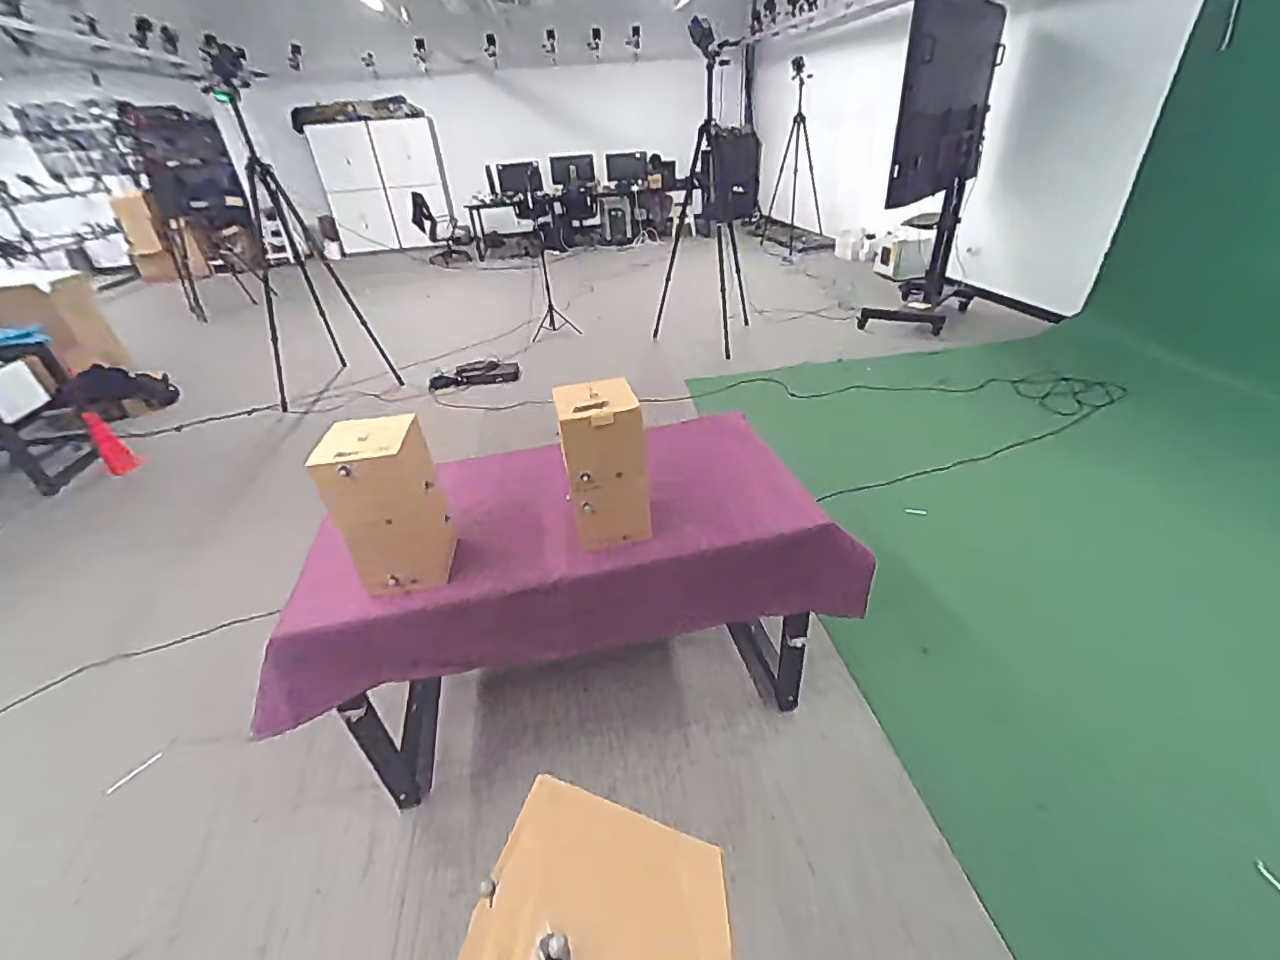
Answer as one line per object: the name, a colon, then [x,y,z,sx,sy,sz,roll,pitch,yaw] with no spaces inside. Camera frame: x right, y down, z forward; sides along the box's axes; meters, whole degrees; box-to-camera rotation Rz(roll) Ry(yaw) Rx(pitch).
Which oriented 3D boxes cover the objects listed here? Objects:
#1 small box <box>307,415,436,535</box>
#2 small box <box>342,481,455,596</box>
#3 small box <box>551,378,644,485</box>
small box: [-0.527,-0.012,1.092,0.168,0.176,0.179,-9,32,-3]
small box: [-0.514,0.126,1.182,0.168,0.176,0.179,-8,34,-4]
small box: [-0.093,-0.102,1.171,0.168,0.176,0.179,-11,32,-9]
